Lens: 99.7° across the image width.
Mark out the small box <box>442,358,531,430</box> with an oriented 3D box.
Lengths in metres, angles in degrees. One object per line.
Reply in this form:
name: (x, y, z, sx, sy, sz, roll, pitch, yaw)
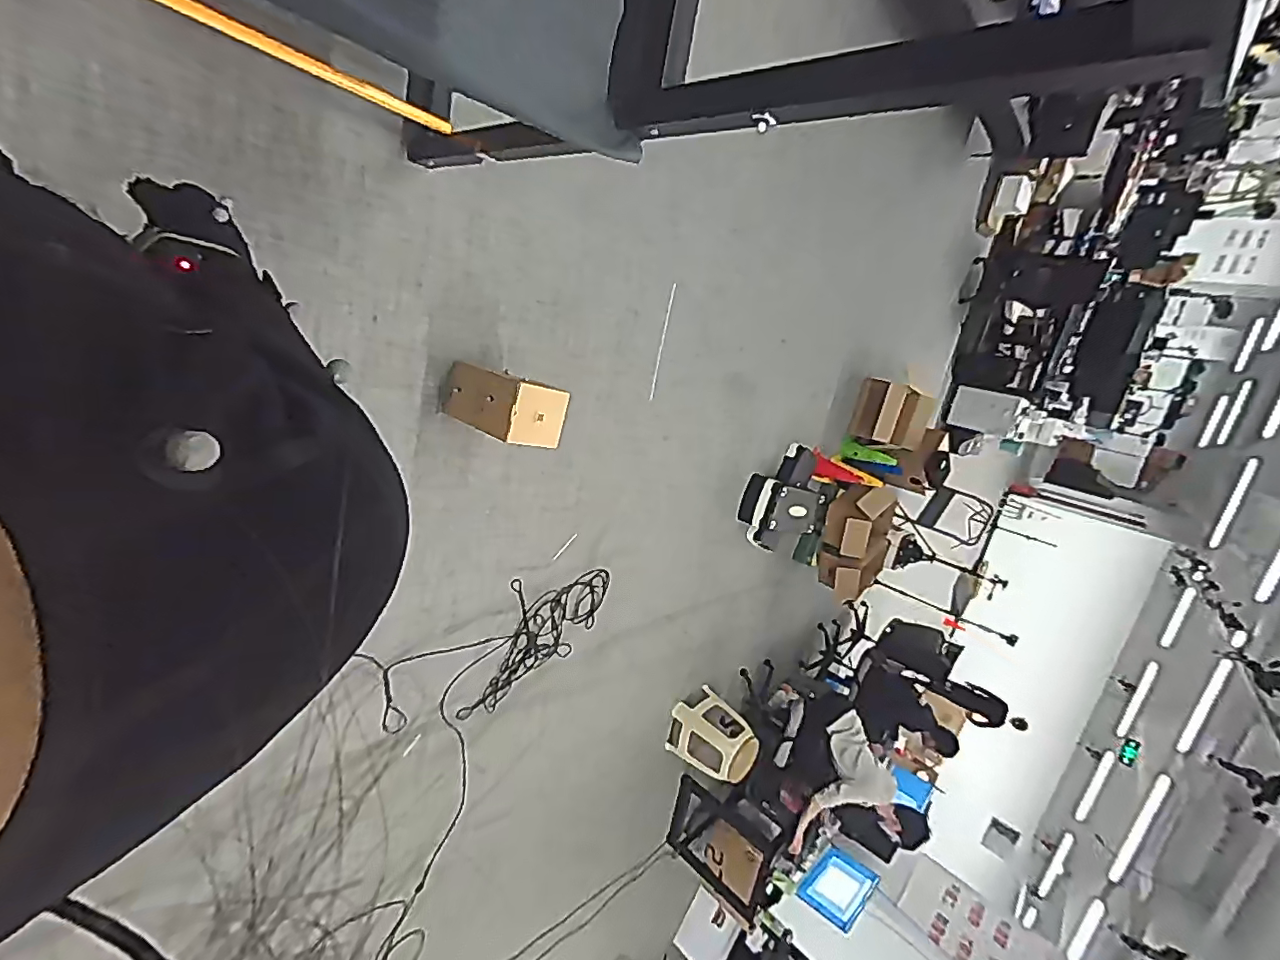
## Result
small box: (-0.460, -0.259, 1.620, 0.179, 0.176, 0.168, 6, 104, -49)
